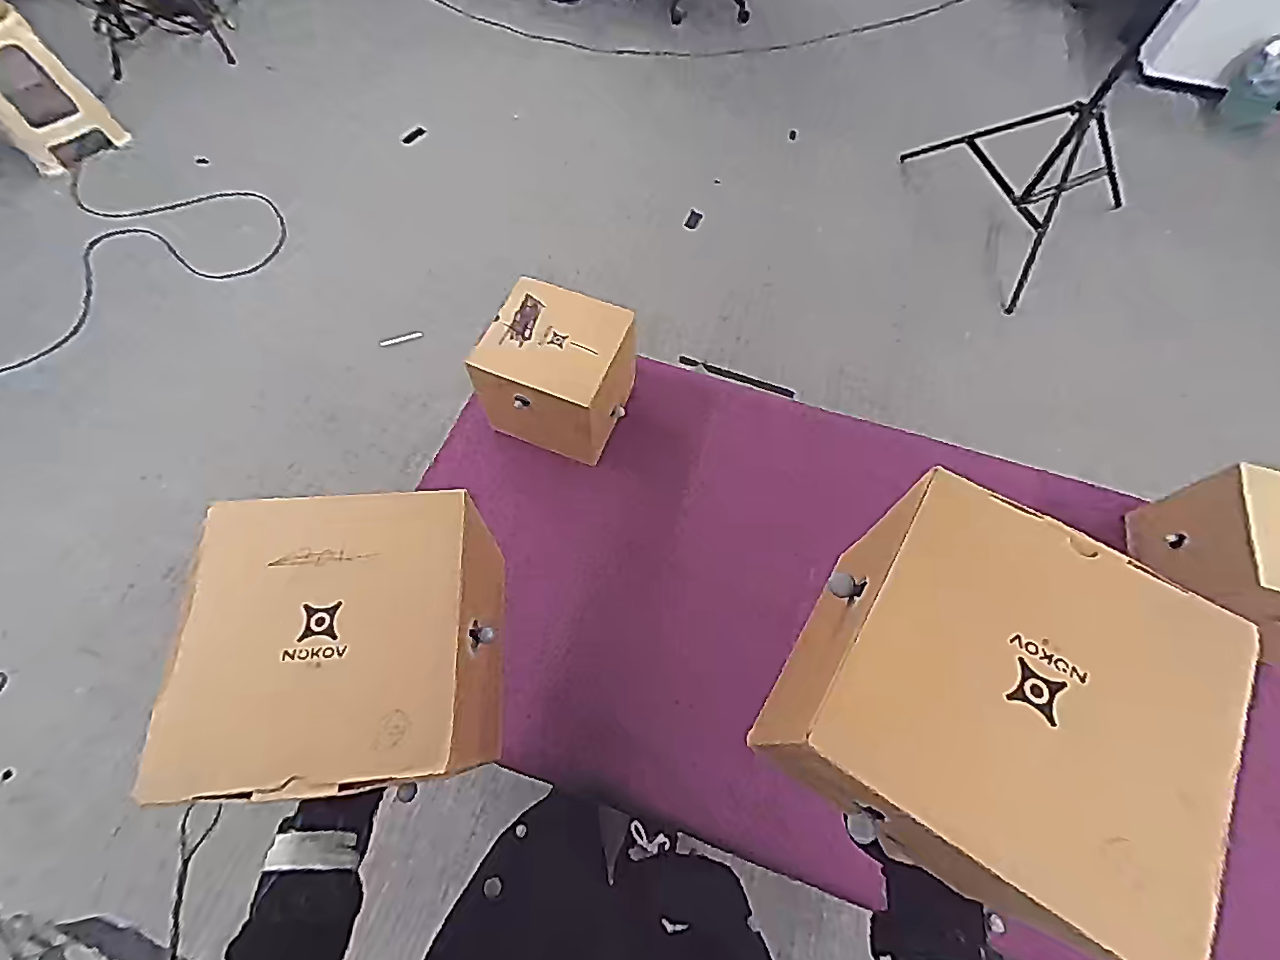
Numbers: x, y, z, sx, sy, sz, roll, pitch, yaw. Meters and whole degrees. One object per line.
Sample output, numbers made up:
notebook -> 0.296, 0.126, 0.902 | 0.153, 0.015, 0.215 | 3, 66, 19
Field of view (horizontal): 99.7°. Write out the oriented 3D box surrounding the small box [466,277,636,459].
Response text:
small box -> -0.117, -0.153, 0.783 | 0.179, 0.176, 0.168 | 20, 66, 7

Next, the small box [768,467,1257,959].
small box -> 0.194, 0.131, 0.332 | 0.168, 0.176, 0.179 | 31, 67, 15

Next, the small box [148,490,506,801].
small box -> -0.195, 0.121, 0.402 | 0.168, 0.176, 0.179 | -3, 65, -6

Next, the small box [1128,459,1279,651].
small box -> 0.764, 0.102, 0.681 | 0.179, 0.176, 0.168 | 18, 65, 7
